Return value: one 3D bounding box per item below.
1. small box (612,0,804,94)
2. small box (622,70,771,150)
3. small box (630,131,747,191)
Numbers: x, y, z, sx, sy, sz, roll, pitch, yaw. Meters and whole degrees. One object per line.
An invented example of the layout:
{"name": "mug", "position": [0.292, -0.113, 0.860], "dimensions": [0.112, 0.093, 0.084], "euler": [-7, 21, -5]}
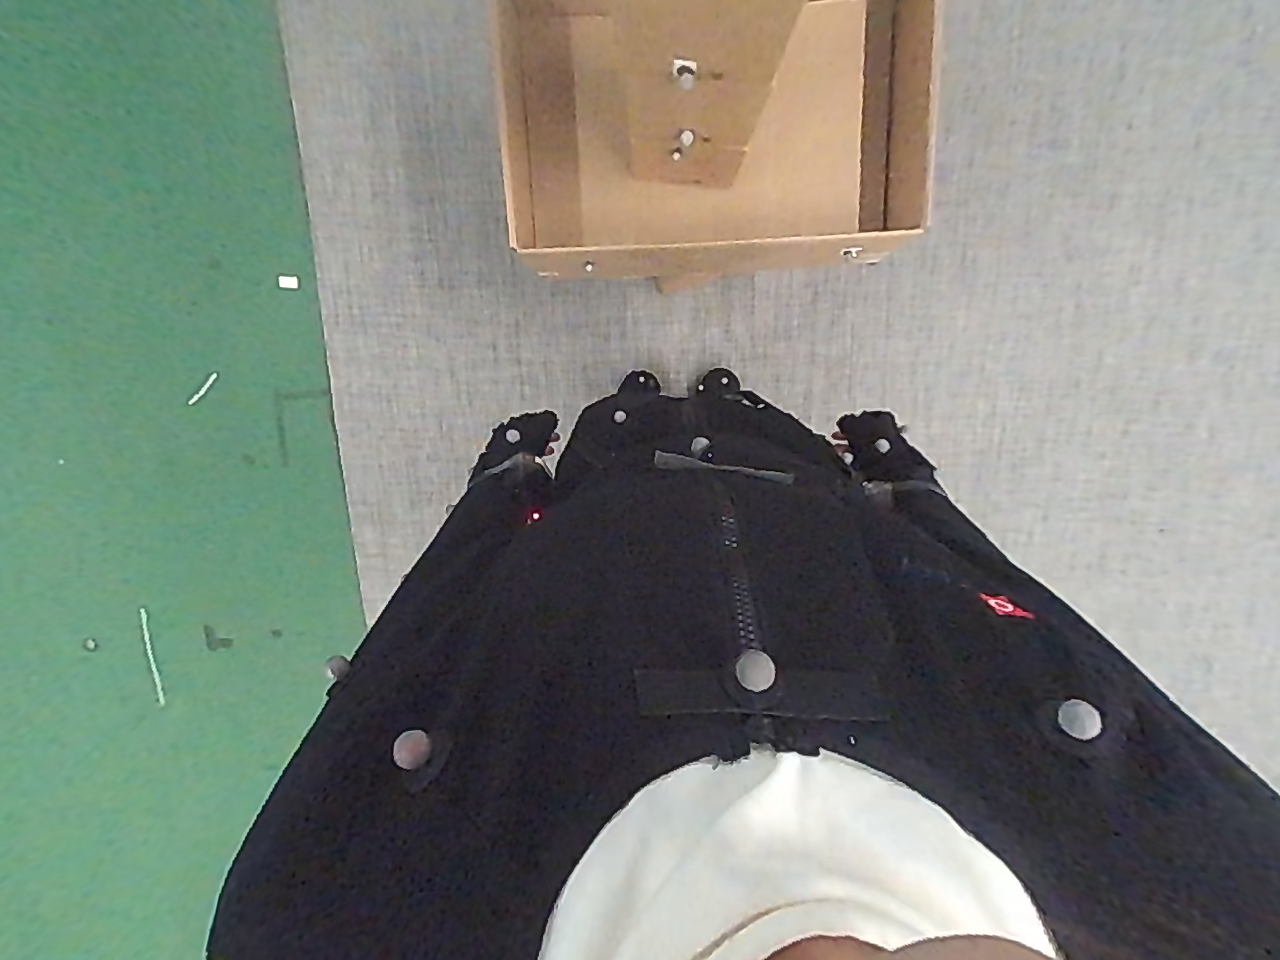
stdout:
{"name": "small box", "position": [0.060, -0.496, 0.496], "dimensions": [0.168, 0.176, 0.179], "euler": [3, 102, 2]}
{"name": "small box", "position": [0.067, -0.532, 0.653], "dimensions": [0.168, 0.176, 0.179], "euler": [3, 102, 0]}
{"name": "small box", "position": [0.076, -0.564, 0.814], "dimensions": [0.168, 0.176, 0.179], "euler": [5, 101, 1]}
